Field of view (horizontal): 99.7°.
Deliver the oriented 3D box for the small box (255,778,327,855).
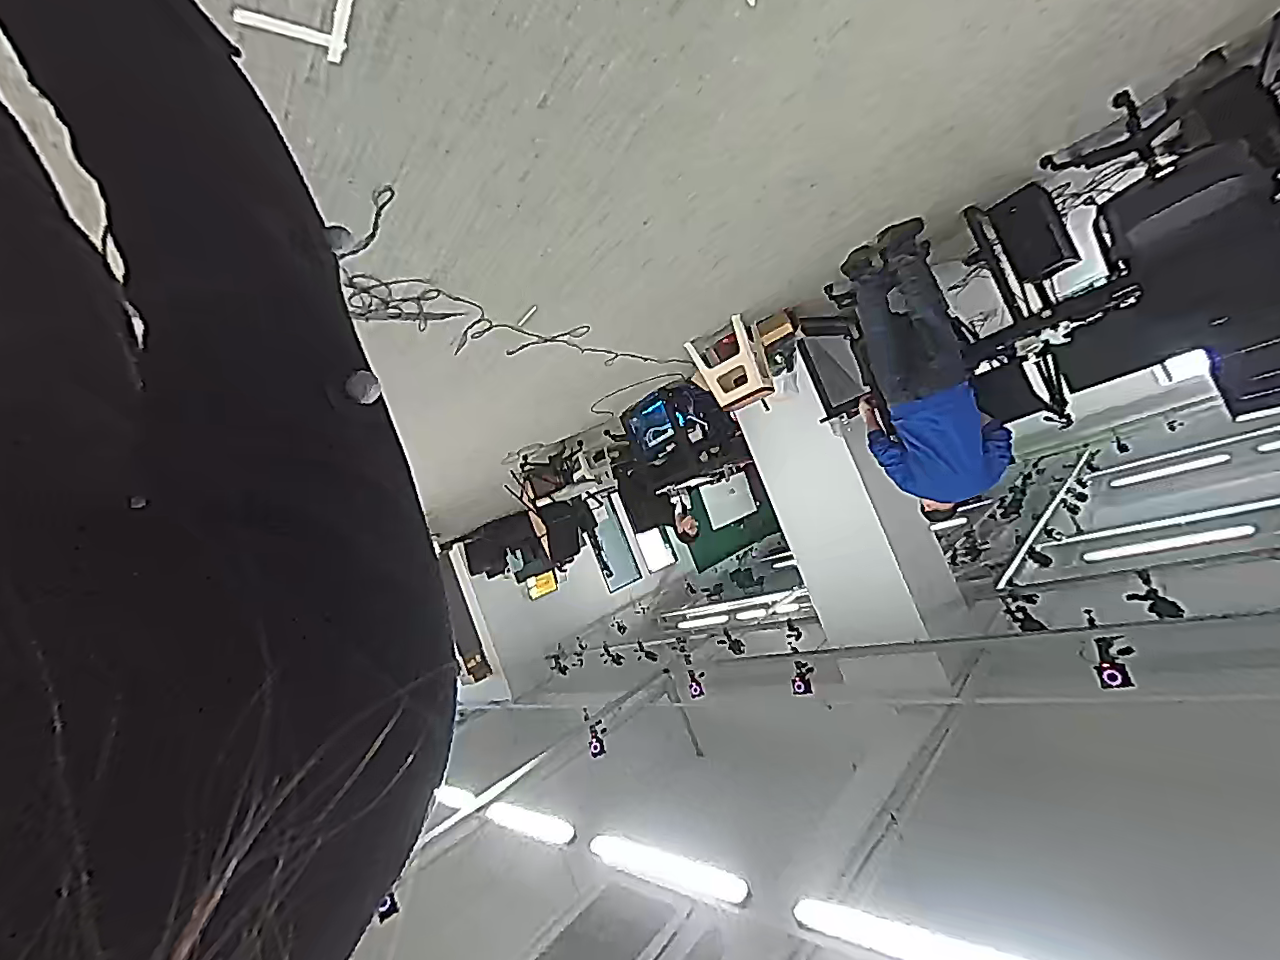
[{"bbox_3d":[-1.265,1.204,1.957,0.179,0.176,0.168,-17,173,-40],"label":"small box"}]
